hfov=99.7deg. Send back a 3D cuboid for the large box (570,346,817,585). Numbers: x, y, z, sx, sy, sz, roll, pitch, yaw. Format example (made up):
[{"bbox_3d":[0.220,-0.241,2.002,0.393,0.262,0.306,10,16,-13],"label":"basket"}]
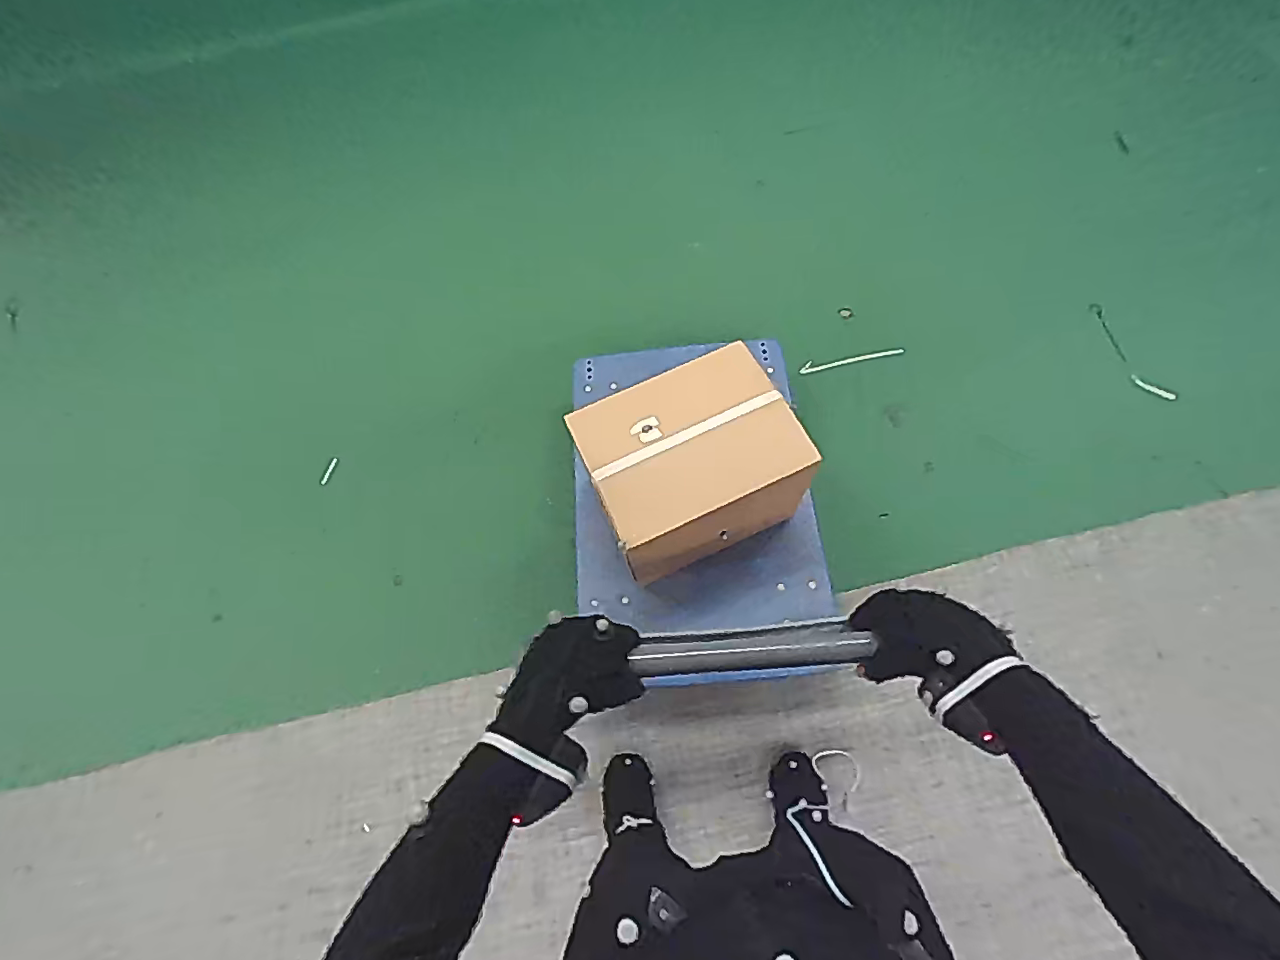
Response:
[{"bbox_3d":[0.111,-0.017,1.193,0.408,0.320,0.320,-25,66,-5],"label":"large box"}]
